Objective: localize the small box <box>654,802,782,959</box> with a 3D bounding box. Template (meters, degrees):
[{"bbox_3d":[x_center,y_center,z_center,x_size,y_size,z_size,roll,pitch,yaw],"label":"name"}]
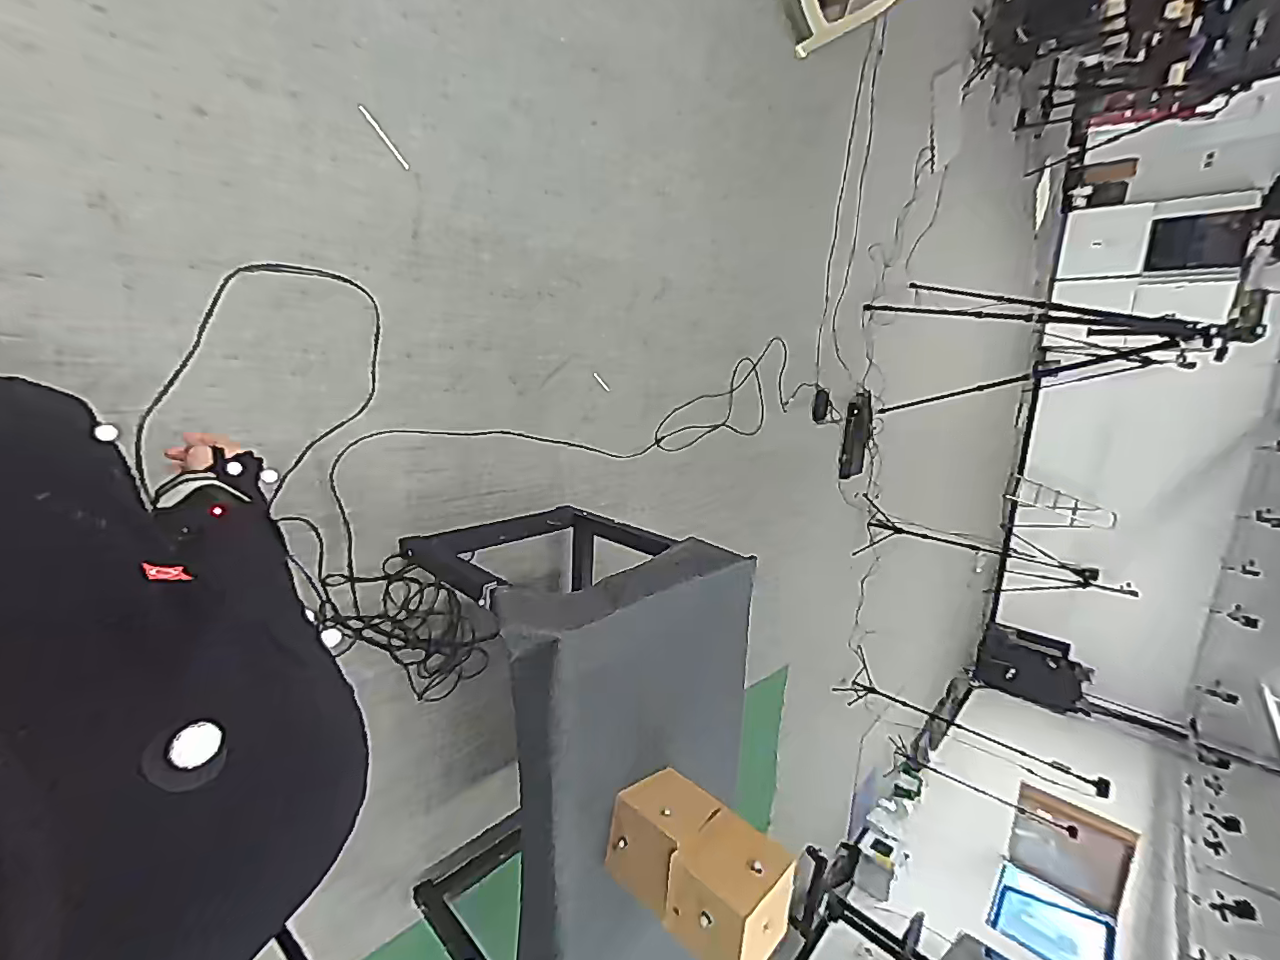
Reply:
[{"bbox_3d":[0.145,0.762,1.021,0.179,0.176,0.168,-6,105,-48],"label":"small box"}]
